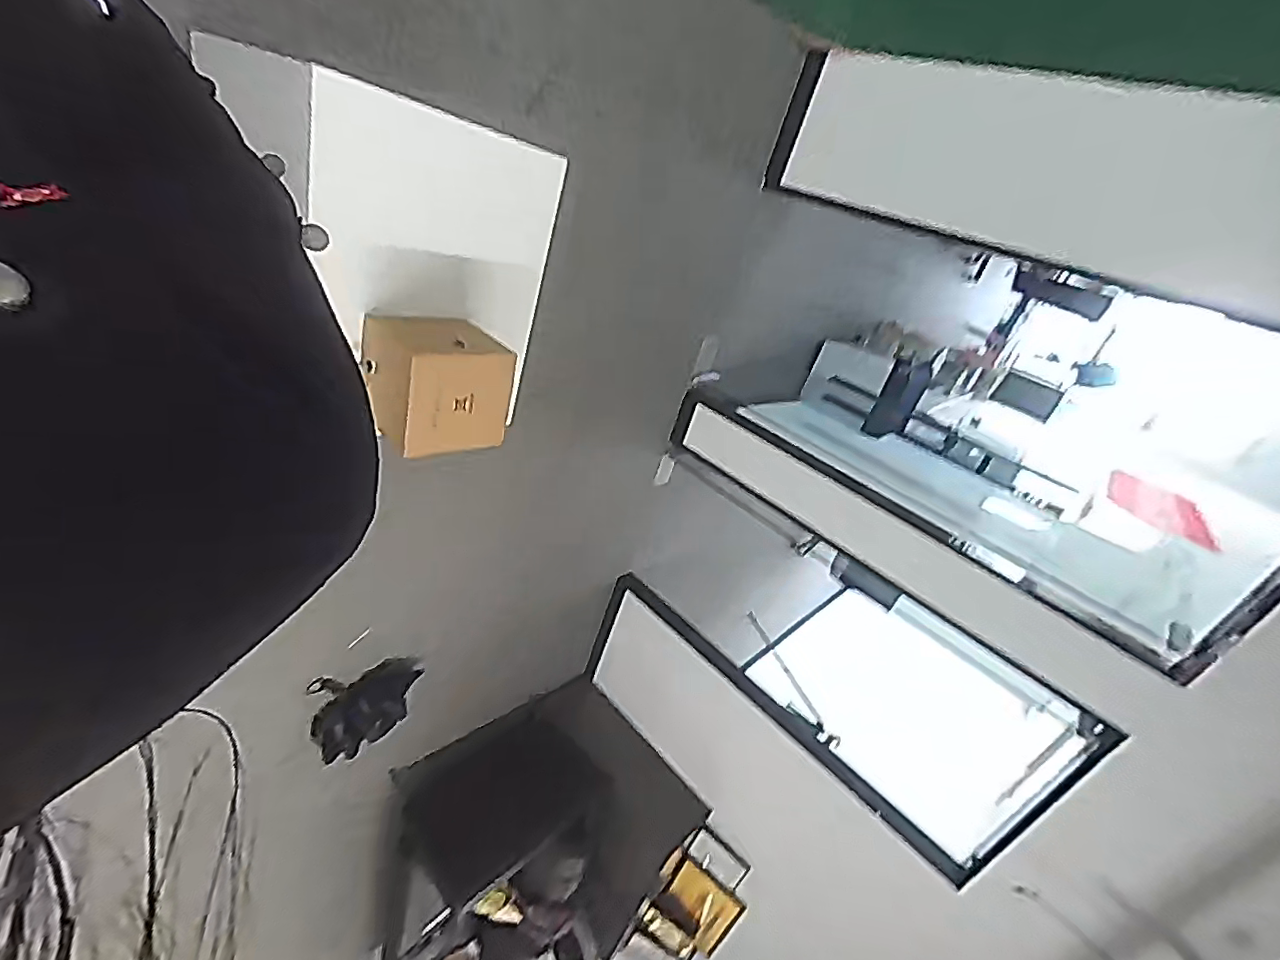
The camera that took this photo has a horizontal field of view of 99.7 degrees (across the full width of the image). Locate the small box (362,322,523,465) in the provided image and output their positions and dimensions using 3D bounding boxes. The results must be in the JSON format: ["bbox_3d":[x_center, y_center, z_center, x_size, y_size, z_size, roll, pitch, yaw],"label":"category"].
[{"bbox_3d":[-0.317,-0.145,0.862,0.179,0.176,0.168,-14,130,-45],"label":"small box"}]
